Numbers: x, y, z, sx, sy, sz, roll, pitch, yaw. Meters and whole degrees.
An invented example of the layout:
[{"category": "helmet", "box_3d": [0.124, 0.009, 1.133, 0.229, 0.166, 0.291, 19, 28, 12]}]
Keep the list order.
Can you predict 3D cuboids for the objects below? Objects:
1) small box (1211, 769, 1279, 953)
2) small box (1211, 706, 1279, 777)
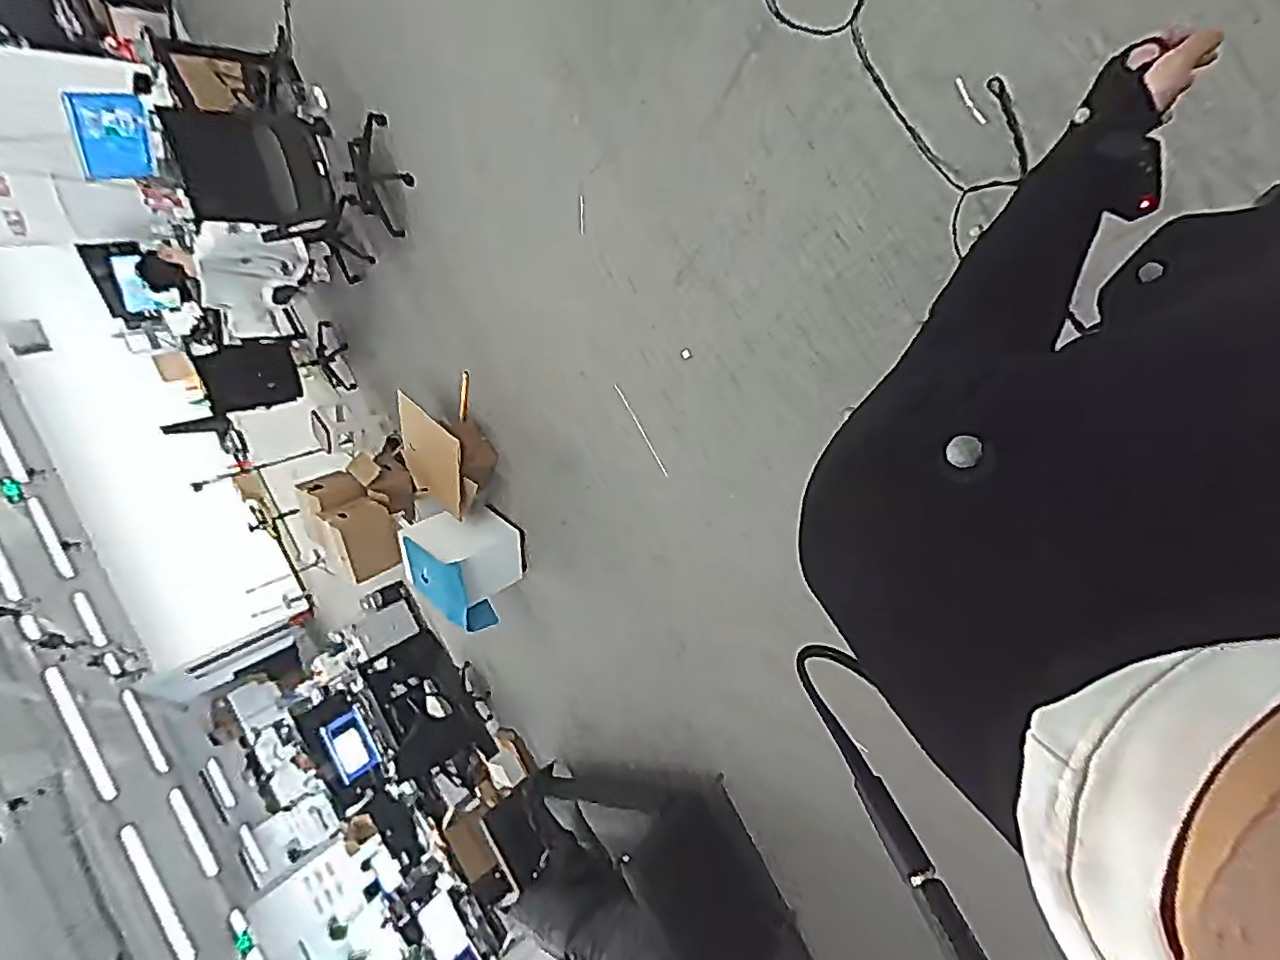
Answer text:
[{"category": "small box", "box_3d": [0.962, 0.550, 0.774, 0.168, 0.176, 0.179, -25, 92, 50]}, {"category": "small box", "box_3d": [1.075, 0.494, 0.880, 0.168, 0.176, 0.179, -24, 92, 49]}]
